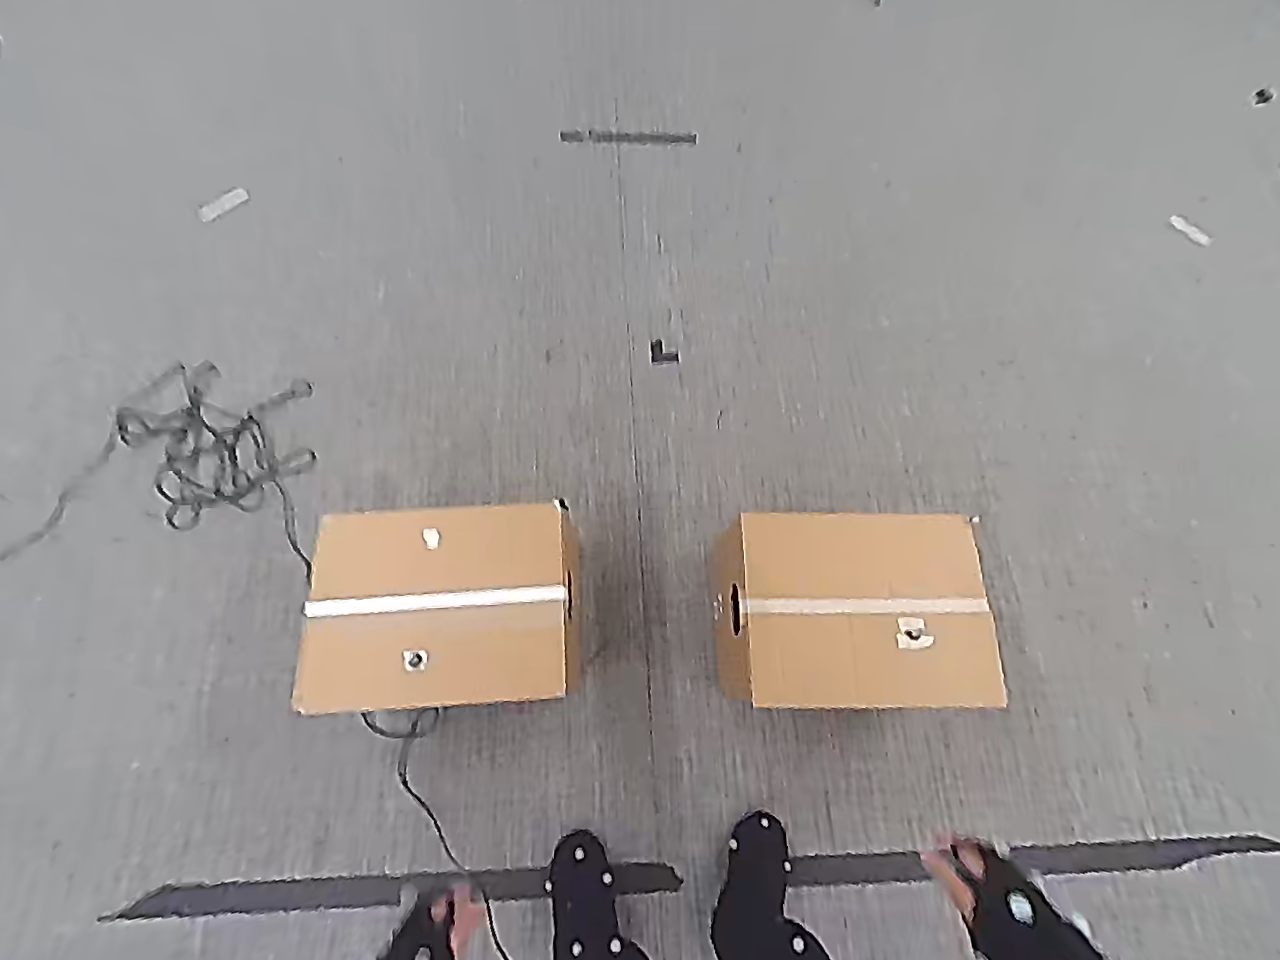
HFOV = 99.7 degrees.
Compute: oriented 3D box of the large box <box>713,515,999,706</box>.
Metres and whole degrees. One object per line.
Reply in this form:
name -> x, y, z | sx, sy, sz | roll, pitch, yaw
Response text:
large box -> 0.369, 0.258, 1.043 | 0.408, 0.320, 0.320 | 1, 71, -2
